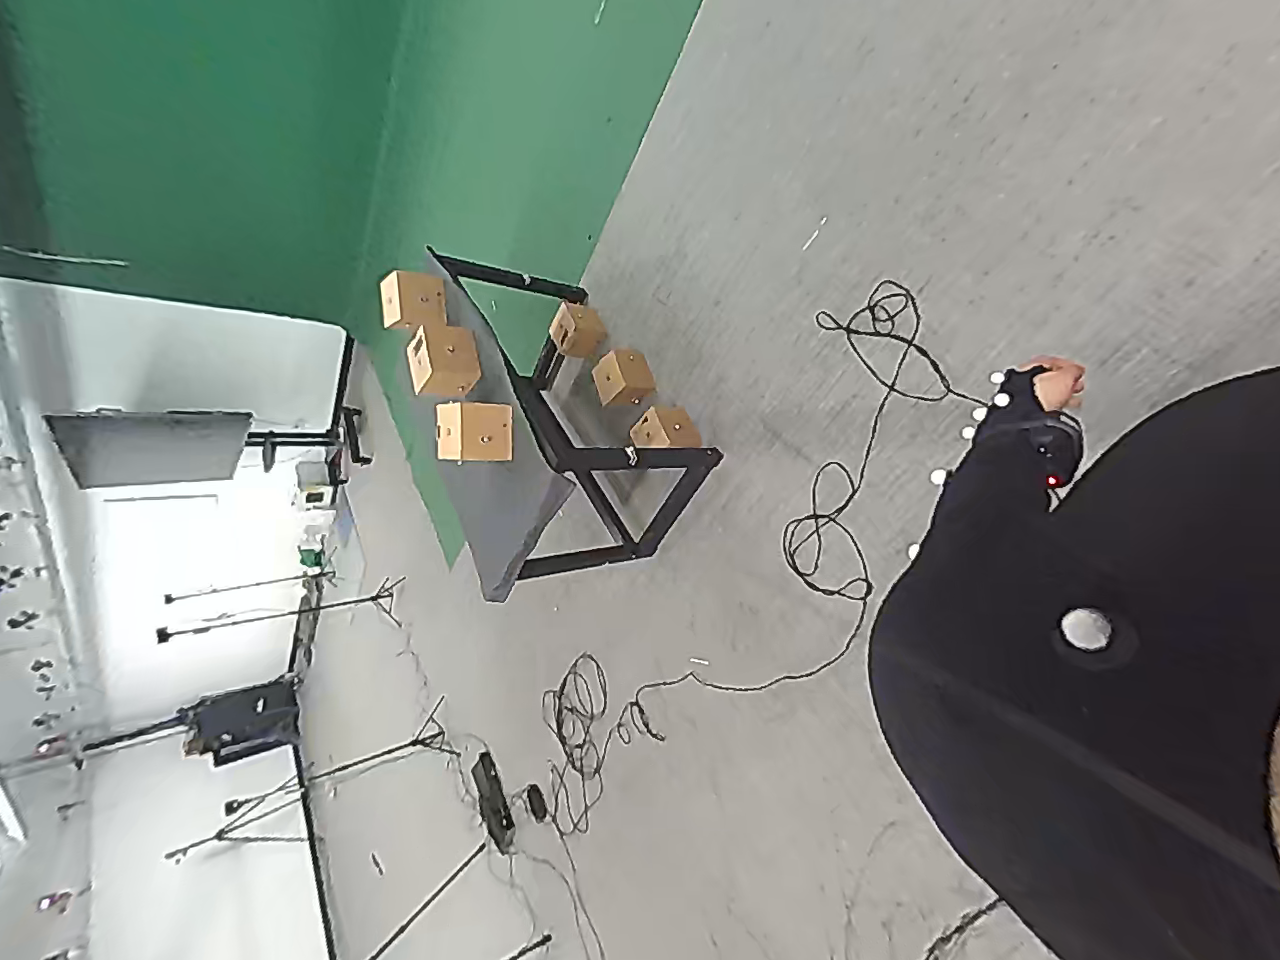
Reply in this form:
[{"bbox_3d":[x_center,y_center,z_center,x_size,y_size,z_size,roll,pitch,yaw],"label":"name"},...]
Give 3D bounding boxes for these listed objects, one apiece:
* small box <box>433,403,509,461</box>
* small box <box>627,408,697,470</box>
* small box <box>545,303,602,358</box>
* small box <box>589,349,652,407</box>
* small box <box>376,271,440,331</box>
[{"bbox_3d":[-0.506,-0.143,1.629,0.179,0.176,0.168,4,95,48],"label":"small box"},{"bbox_3d":[0.086,-0.157,2.059,0.168,0.176,0.179,-44,61,39],"label":"small box"},{"bbox_3d":[-0.297,-0.672,2.451,0.168,0.176,0.179,-51,55,35],"label":"small box"},{"bbox_3d":[-0.079,-0.412,2.227,0.168,0.176,0.179,-35,68,44],"label":"small box"},{"bbox_3d":[-0.831,-0.640,1.950,0.179,0.176,0.168,2,96,48],"label":"small box"}]
